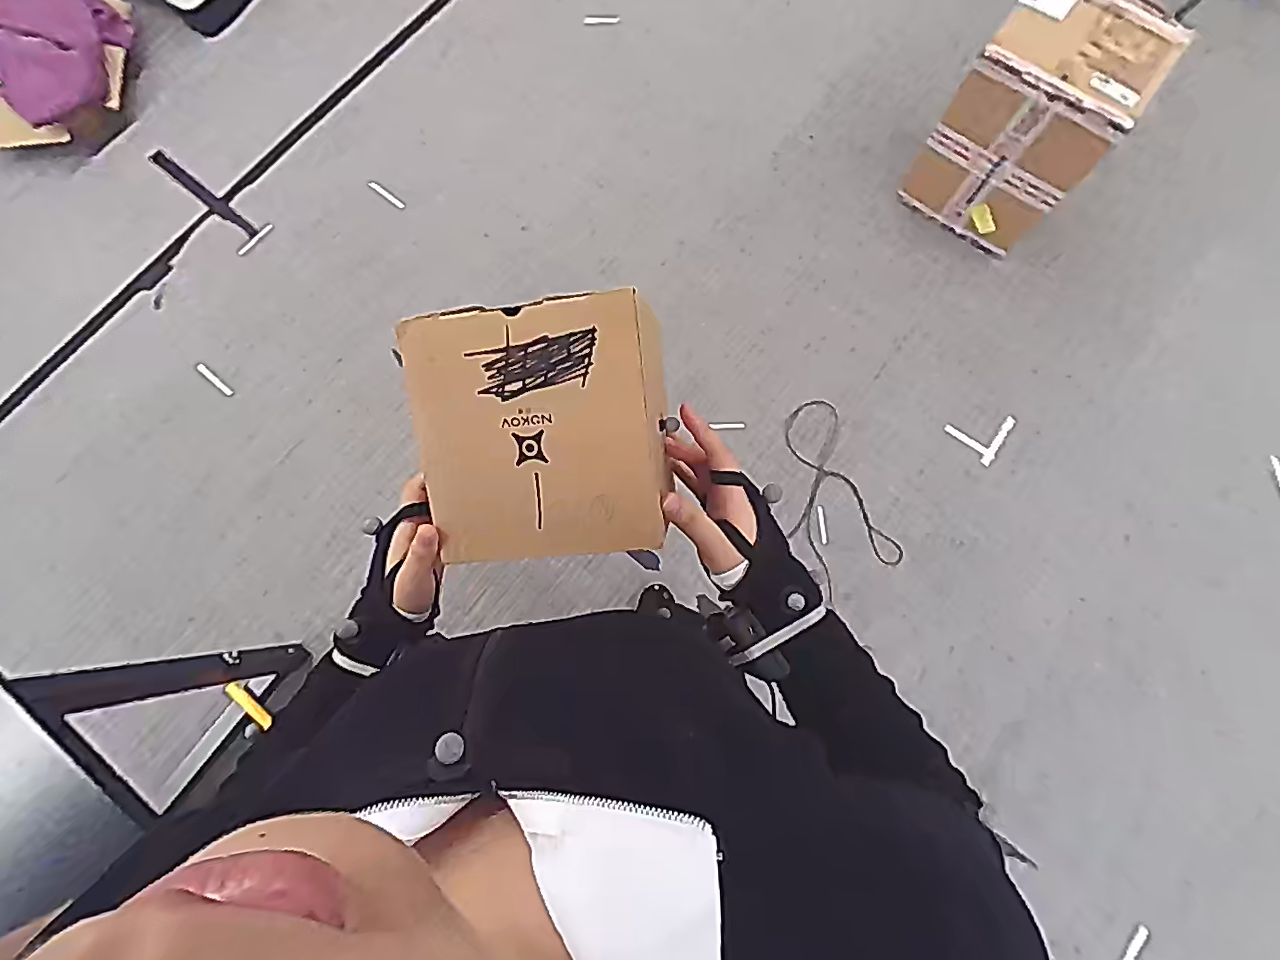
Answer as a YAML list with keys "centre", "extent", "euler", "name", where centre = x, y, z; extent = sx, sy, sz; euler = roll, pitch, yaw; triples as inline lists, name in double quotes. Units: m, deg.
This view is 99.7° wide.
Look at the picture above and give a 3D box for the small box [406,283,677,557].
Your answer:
- centre: [-0.060, -0.048, 0.444]
  extent: [0.168, 0.176, 0.179]
  euler: [-4, 100, 9]
  name: "small box"
